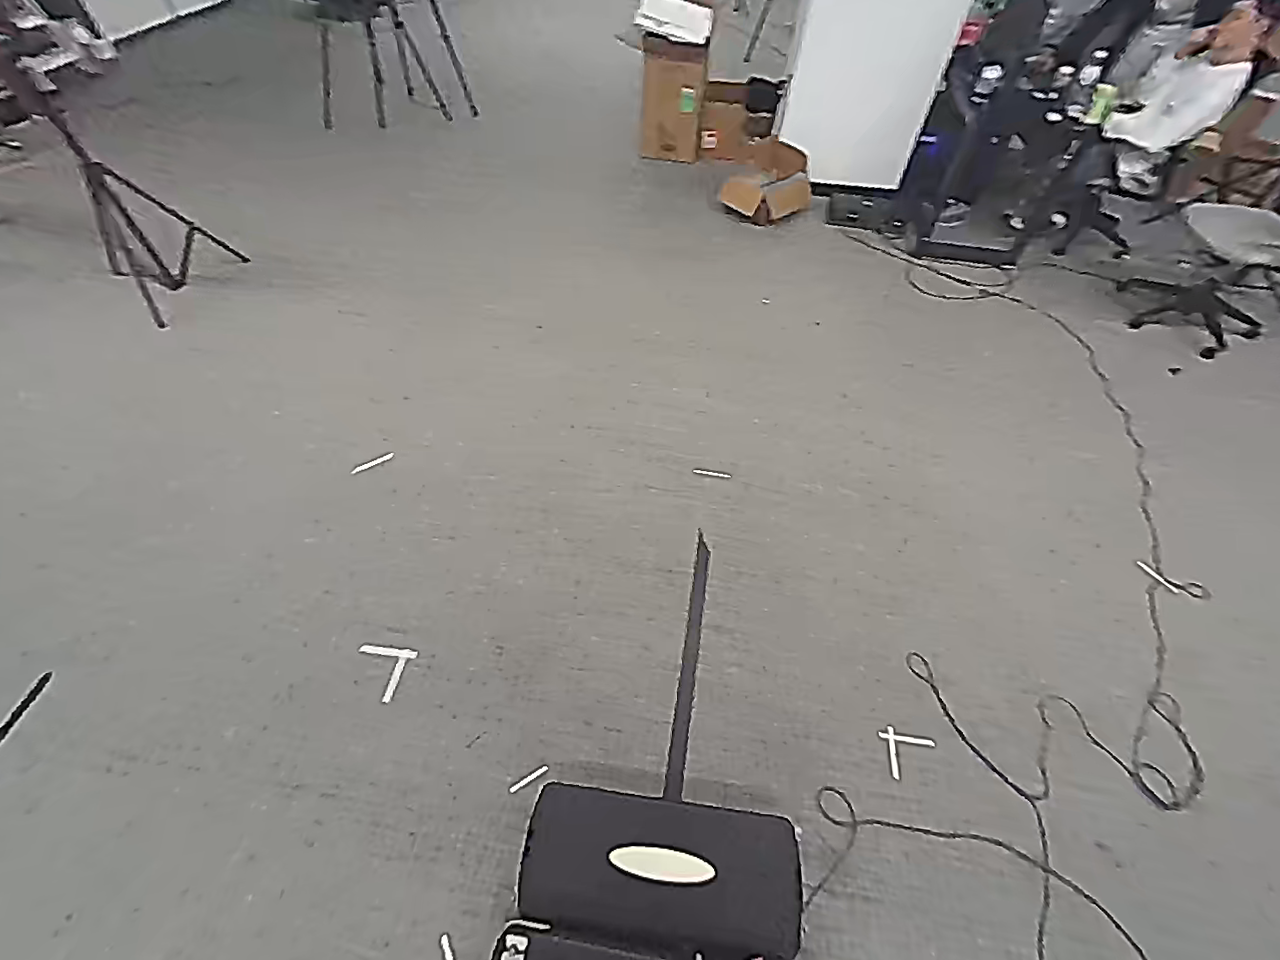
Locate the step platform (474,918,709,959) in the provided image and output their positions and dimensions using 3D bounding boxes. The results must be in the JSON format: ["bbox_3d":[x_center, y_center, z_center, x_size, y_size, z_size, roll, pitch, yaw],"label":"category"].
[{"bbox_3d":[-0.031,1.130,1.104,0.684,0.204,0.286,7,52,4],"label":"step platform"}]
